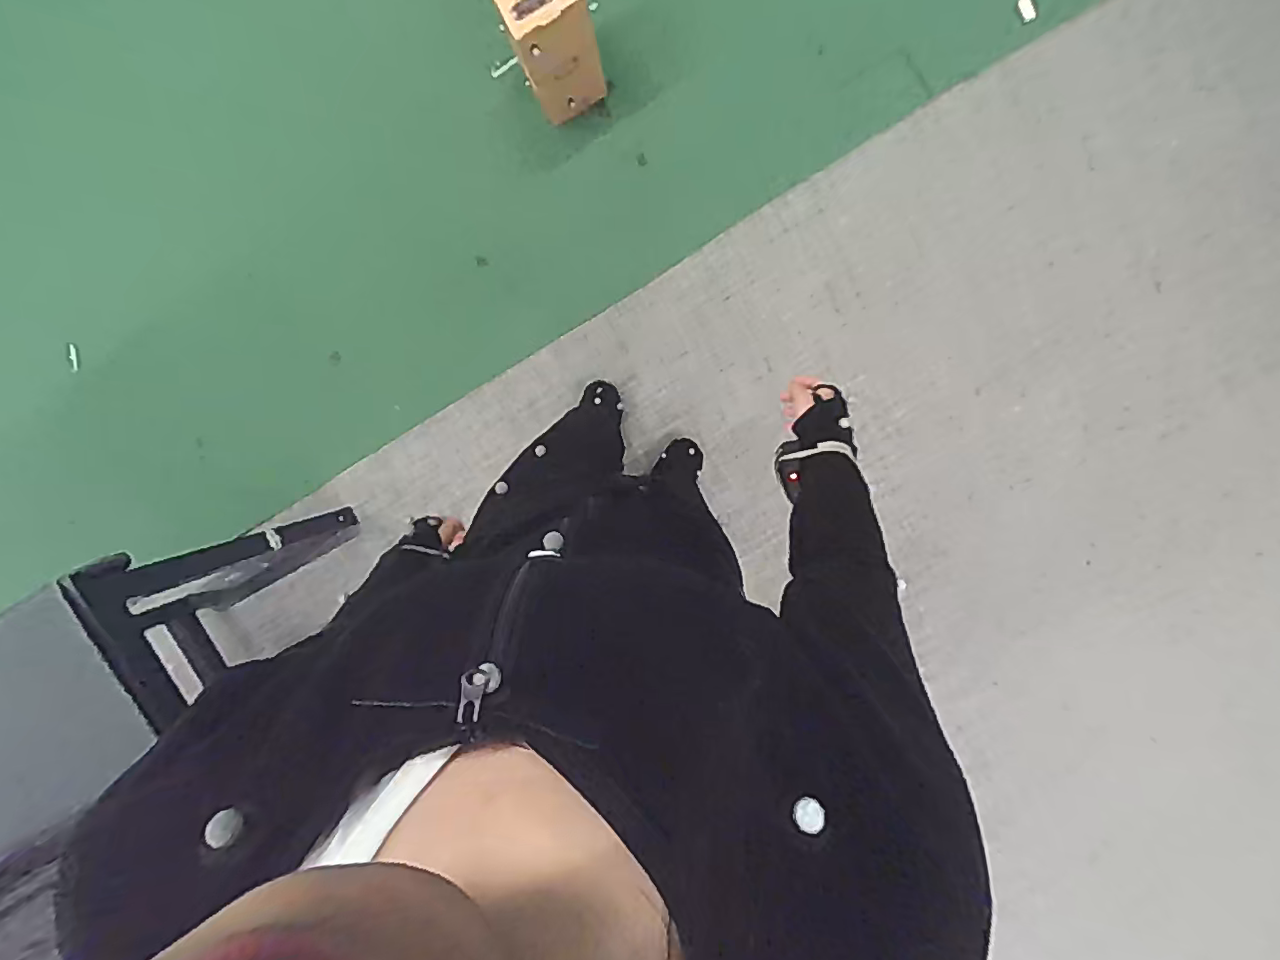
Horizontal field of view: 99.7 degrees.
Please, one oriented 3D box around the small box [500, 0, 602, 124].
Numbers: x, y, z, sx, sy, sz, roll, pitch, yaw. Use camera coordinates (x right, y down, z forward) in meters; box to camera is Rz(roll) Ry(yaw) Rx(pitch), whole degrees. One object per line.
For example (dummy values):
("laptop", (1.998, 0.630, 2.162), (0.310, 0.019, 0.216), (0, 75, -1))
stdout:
("small box", (-0.207, -1.017, 1.304), (0.168, 0.176, 0.179), (-27, 95, 7))
